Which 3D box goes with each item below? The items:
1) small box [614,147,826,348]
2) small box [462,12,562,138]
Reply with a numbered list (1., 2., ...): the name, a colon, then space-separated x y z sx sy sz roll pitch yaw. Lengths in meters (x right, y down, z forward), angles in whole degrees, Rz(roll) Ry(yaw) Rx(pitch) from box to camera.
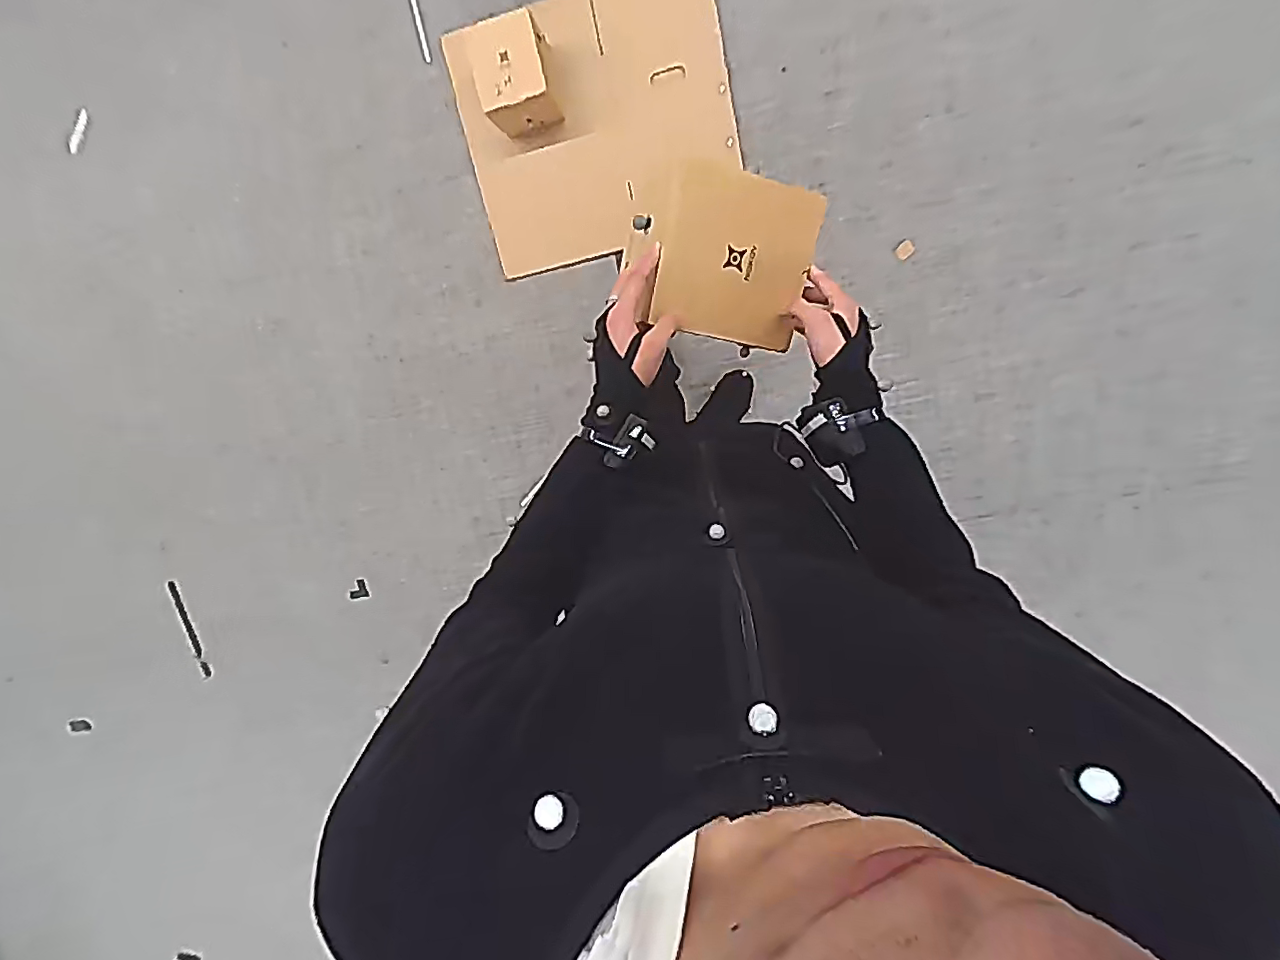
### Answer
1. small box: 0.079 -0.260 0.638 0.179 0.176 0.168 6 107 -19
2. small box: -0.305 -0.978 1.323 0.168 0.176 0.179 -11 104 10
